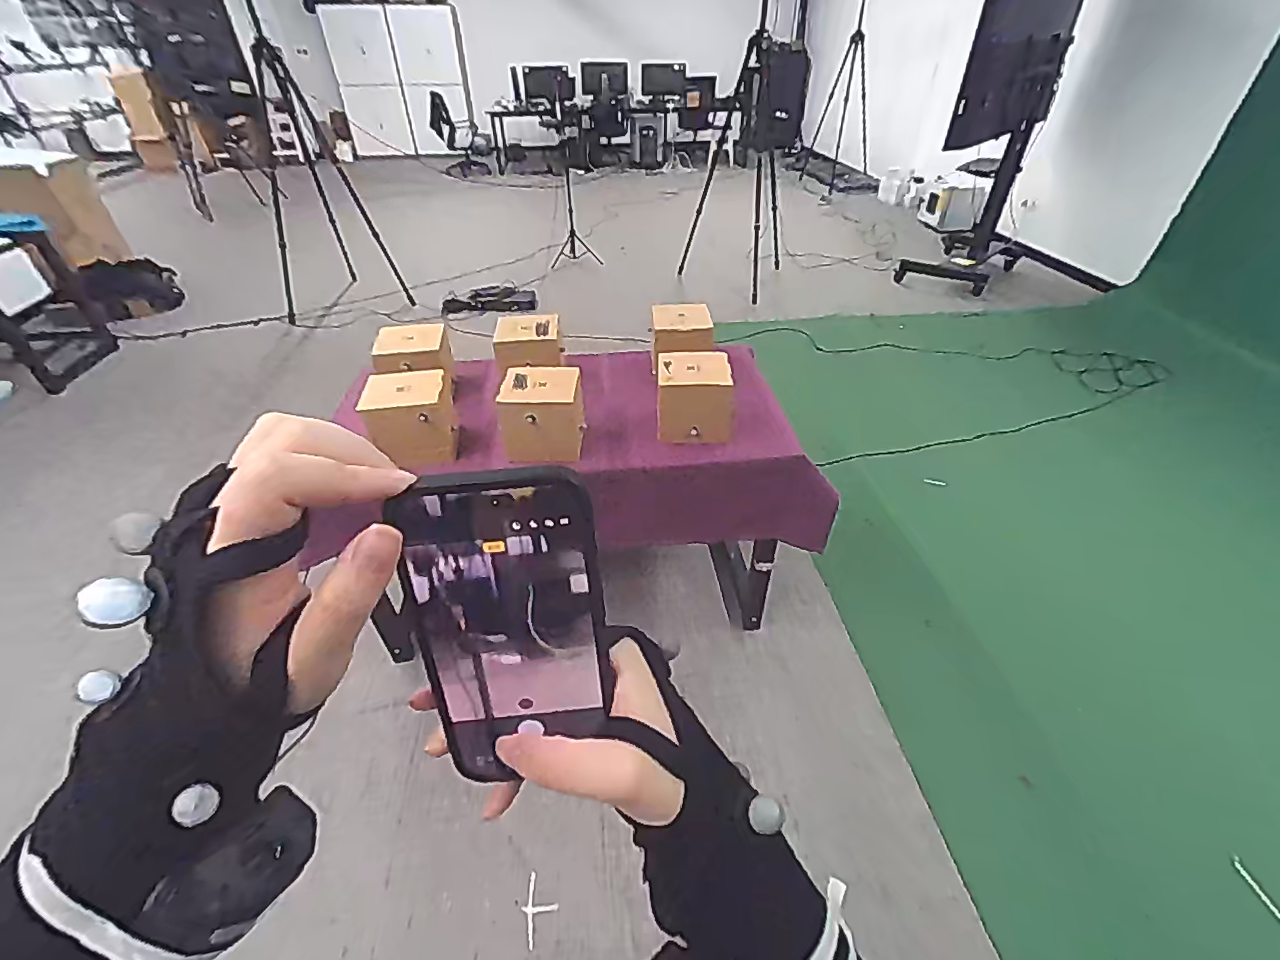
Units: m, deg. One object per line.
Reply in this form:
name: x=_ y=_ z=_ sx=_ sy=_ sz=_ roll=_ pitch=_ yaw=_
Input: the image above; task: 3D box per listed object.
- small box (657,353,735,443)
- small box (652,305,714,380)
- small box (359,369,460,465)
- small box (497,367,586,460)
small box: x=0.135 y=-0.204 z=1.361 sx=0.179 sy=0.176 sz=0.168 roll=1 pitch=39 yaw=1
small box: x=0.122 y=-0.404 z=1.602 sx=0.168 sy=0.176 sz=0.179 roll=-2 pitch=40 yaw=-1
small box: x=-0.543 y=-0.149 z=1.299 sx=0.179 sy=0.176 sz=0.168 roll=-6 pitch=39 yaw=-9
small box: x=-0.230 y=-0.160 z=1.309 sx=0.179 sy=0.176 sz=0.168 roll=1 pitch=40 yaw=0
